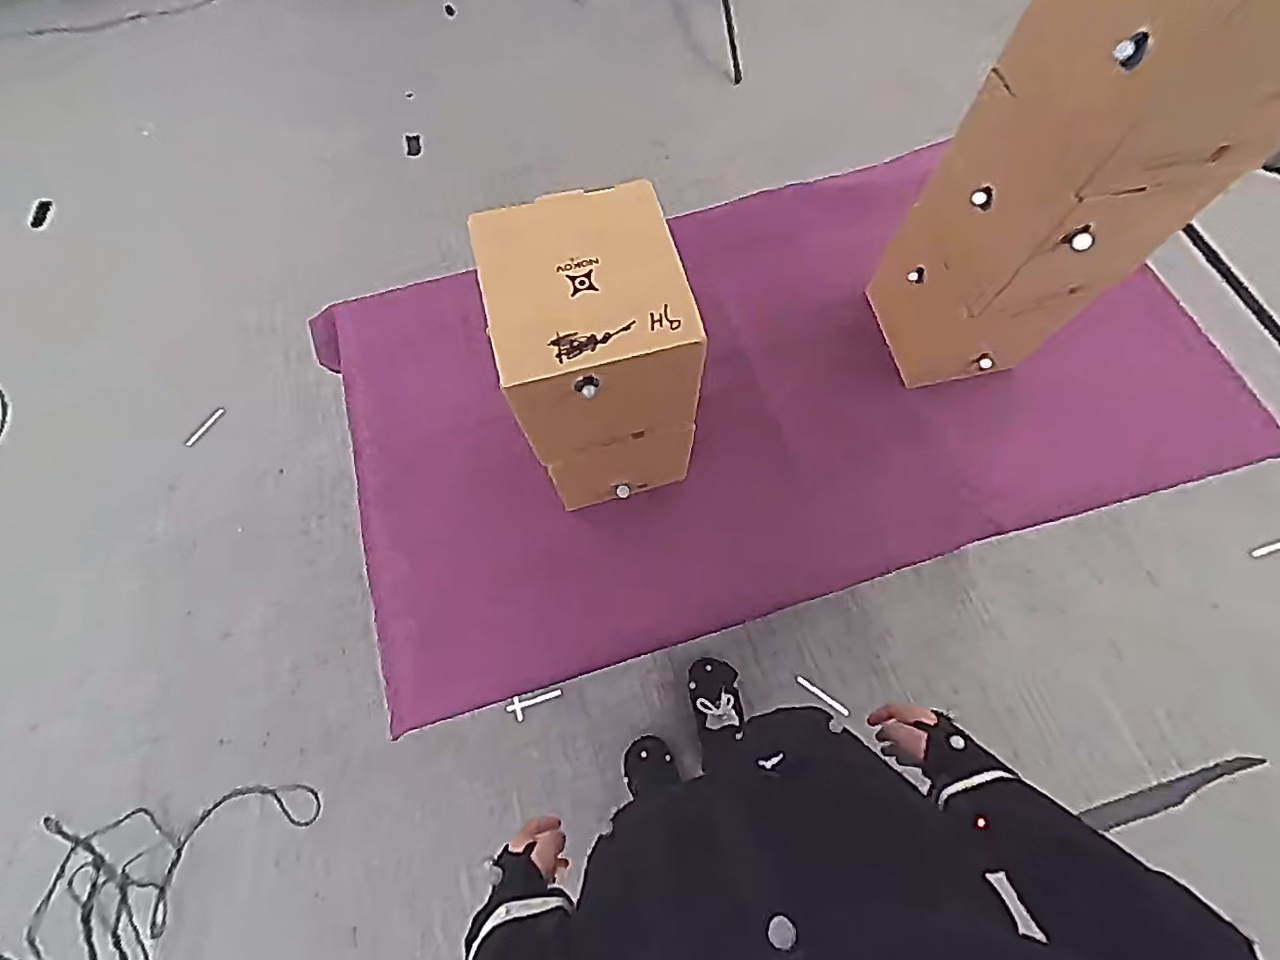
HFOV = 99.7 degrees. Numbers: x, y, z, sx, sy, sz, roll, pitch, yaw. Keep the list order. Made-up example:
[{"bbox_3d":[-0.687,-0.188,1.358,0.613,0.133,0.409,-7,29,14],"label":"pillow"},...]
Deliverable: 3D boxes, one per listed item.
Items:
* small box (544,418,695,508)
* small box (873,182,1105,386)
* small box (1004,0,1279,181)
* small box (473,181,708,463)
[{"bbox_3d":[-0.039,-0.085,0.670,0.168,0.176,0.179,-15,72,-4],"label":"small box"},{"bbox_3d":[0.438,-0.251,0.716,0.168,0.176,0.179,-11,71,-2],"label":"small box"},{"bbox_3d":[0.427,-0.353,0.406,0.168,0.176,0.179,-9,69,-3],"label":"small box"},{"bbox_3d":[-0.044,-0.139,0.515,0.168,0.176,0.179,-14,70,-3],"label":"small box"}]
